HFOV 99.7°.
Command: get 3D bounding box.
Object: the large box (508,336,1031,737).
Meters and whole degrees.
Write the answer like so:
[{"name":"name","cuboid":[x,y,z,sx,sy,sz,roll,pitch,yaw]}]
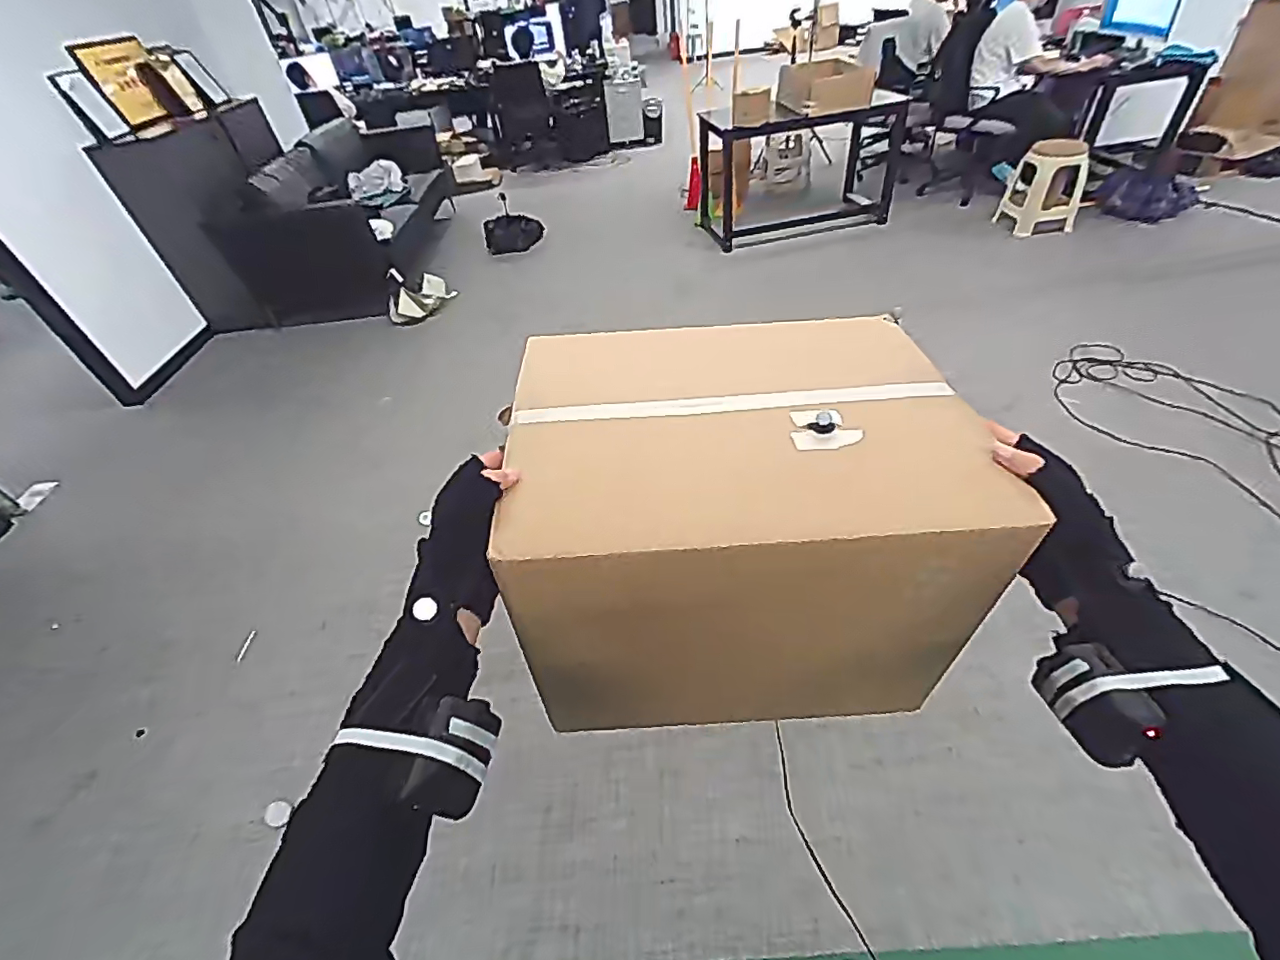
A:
[{"name":"large box","cuboid":[0.092,0.059,0.607,0.408,0.320,0.320,-3,44,-1]}]
